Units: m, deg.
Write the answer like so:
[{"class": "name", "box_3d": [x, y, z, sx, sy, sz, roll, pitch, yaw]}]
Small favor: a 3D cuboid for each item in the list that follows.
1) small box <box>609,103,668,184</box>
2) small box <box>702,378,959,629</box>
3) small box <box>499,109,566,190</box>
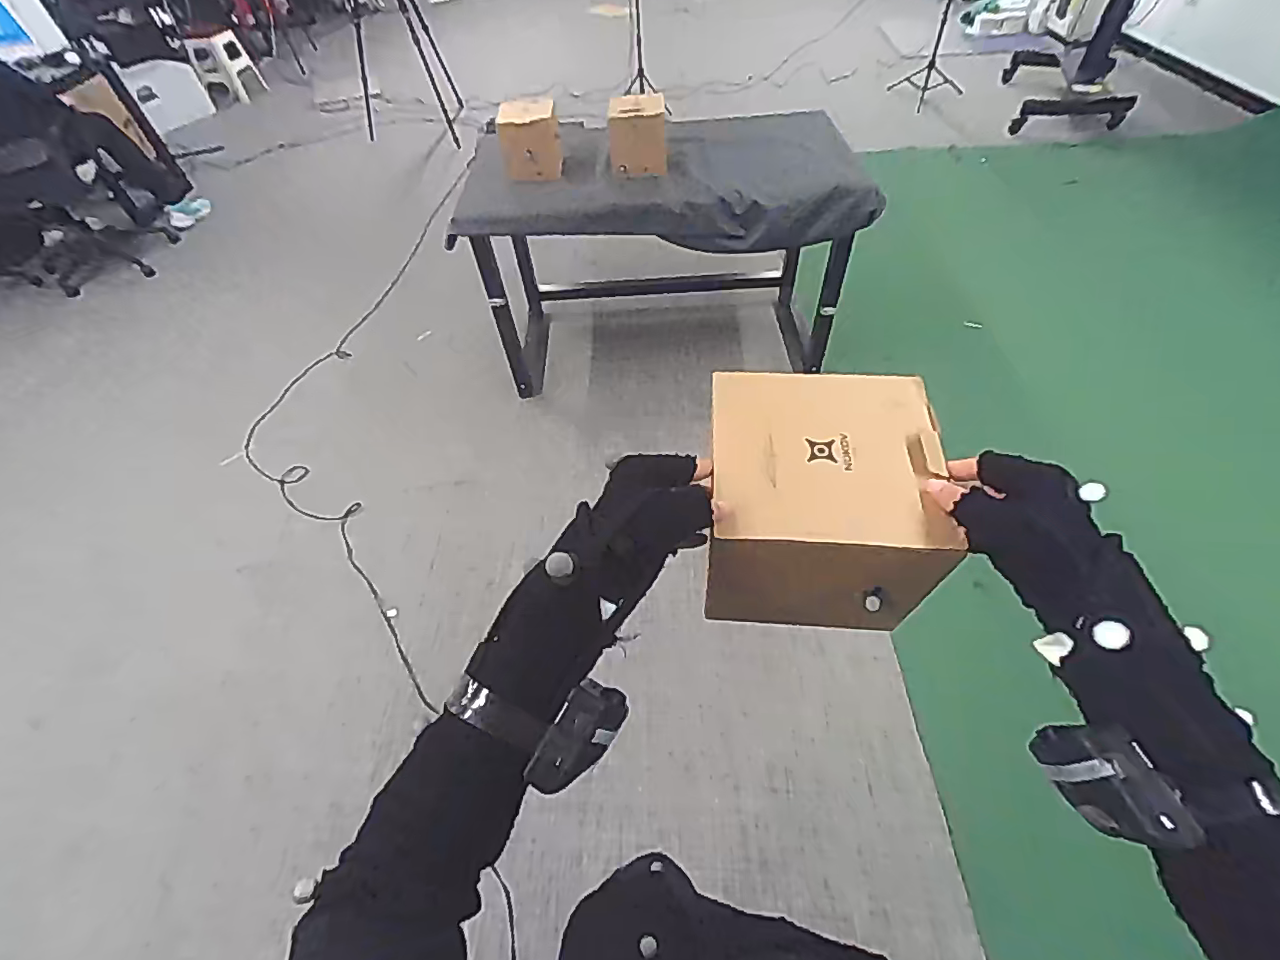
[{"class": "small box", "box_3d": [0.000, -1.028, 1.661, 0.168, 0.176, 0.179, -2, 50, 4]}, {"class": "small box", "box_3d": [0.147, 0.027, 0.489, 0.179, 0.176, 0.168, 1, 55, 7]}, {"class": "small box", "box_3d": [-0.329, -1.028, 1.692, 0.168, 0.176, 0.179, -4, 52, 2]}]
